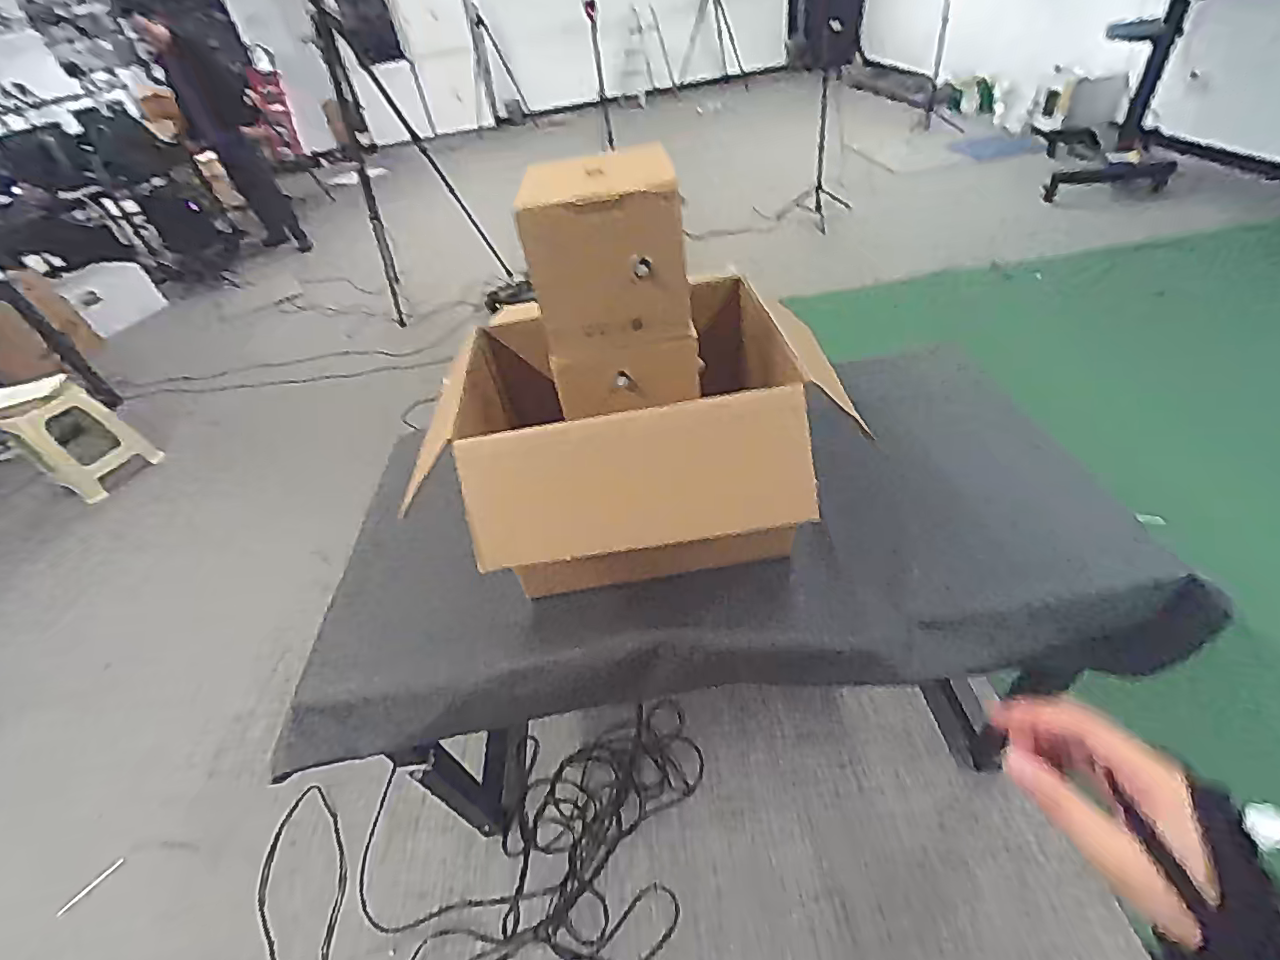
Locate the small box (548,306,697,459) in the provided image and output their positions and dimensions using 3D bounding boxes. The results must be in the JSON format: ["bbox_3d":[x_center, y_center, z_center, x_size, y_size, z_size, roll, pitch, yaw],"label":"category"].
[{"bbox_3d":[-0.020,-0.151,0.738,0.179,0.176,0.168,-10,42,1],"label":"small box"}]

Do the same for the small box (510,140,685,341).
[{"bbox_3d":[-0.042,-0.274,0.634,0.168,0.176,0.179,-8,41,1],"label":"small box"}]
